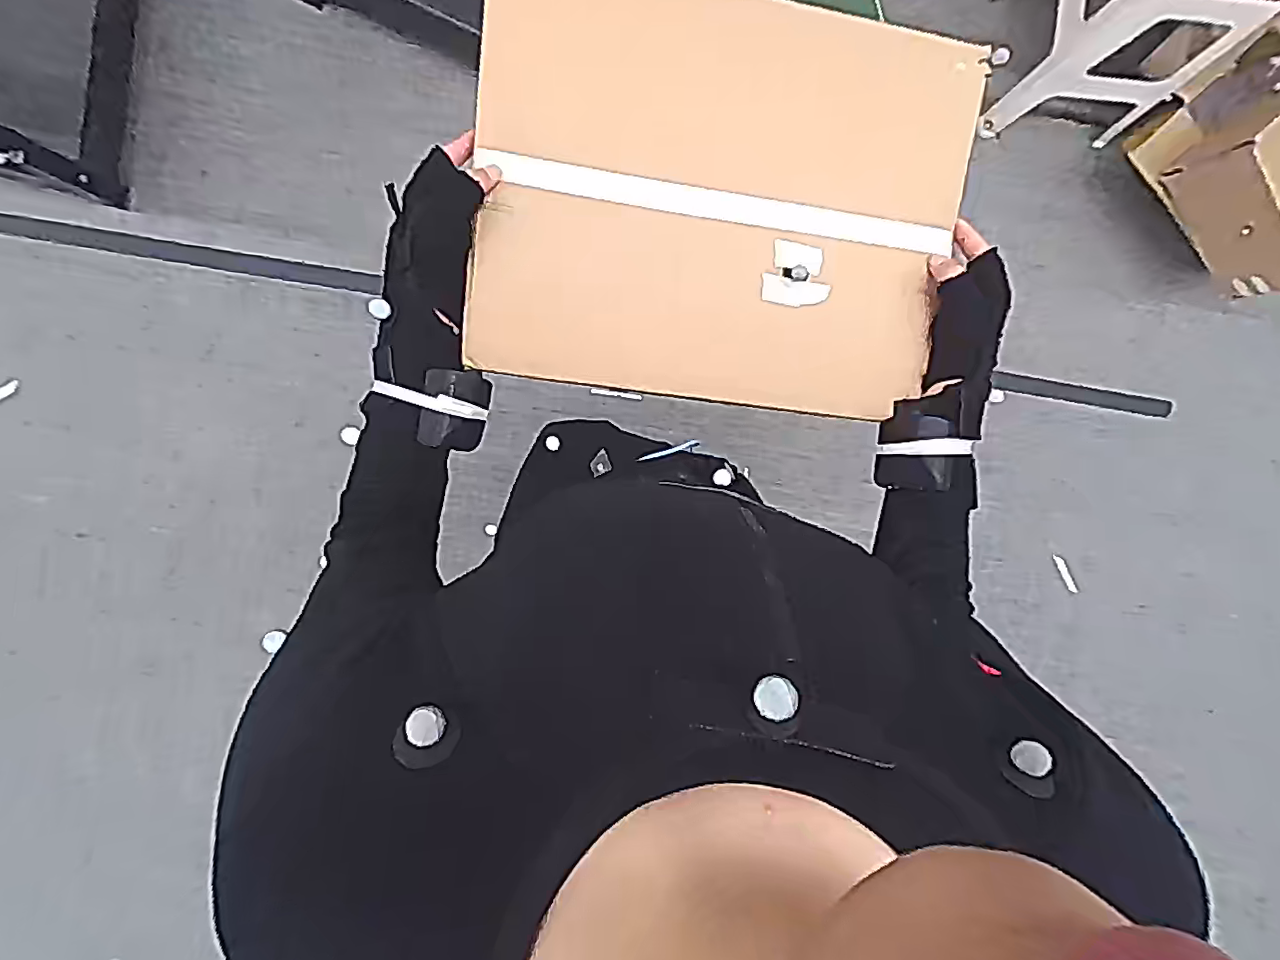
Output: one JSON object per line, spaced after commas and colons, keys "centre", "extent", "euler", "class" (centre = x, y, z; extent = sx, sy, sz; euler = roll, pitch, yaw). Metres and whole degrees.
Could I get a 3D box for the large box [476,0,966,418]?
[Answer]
{"centre": [0.050, -0.252, 0.606], "extent": [0.408, 0.320, 0.320], "euler": [6, 101, -9], "class": "large box"}
